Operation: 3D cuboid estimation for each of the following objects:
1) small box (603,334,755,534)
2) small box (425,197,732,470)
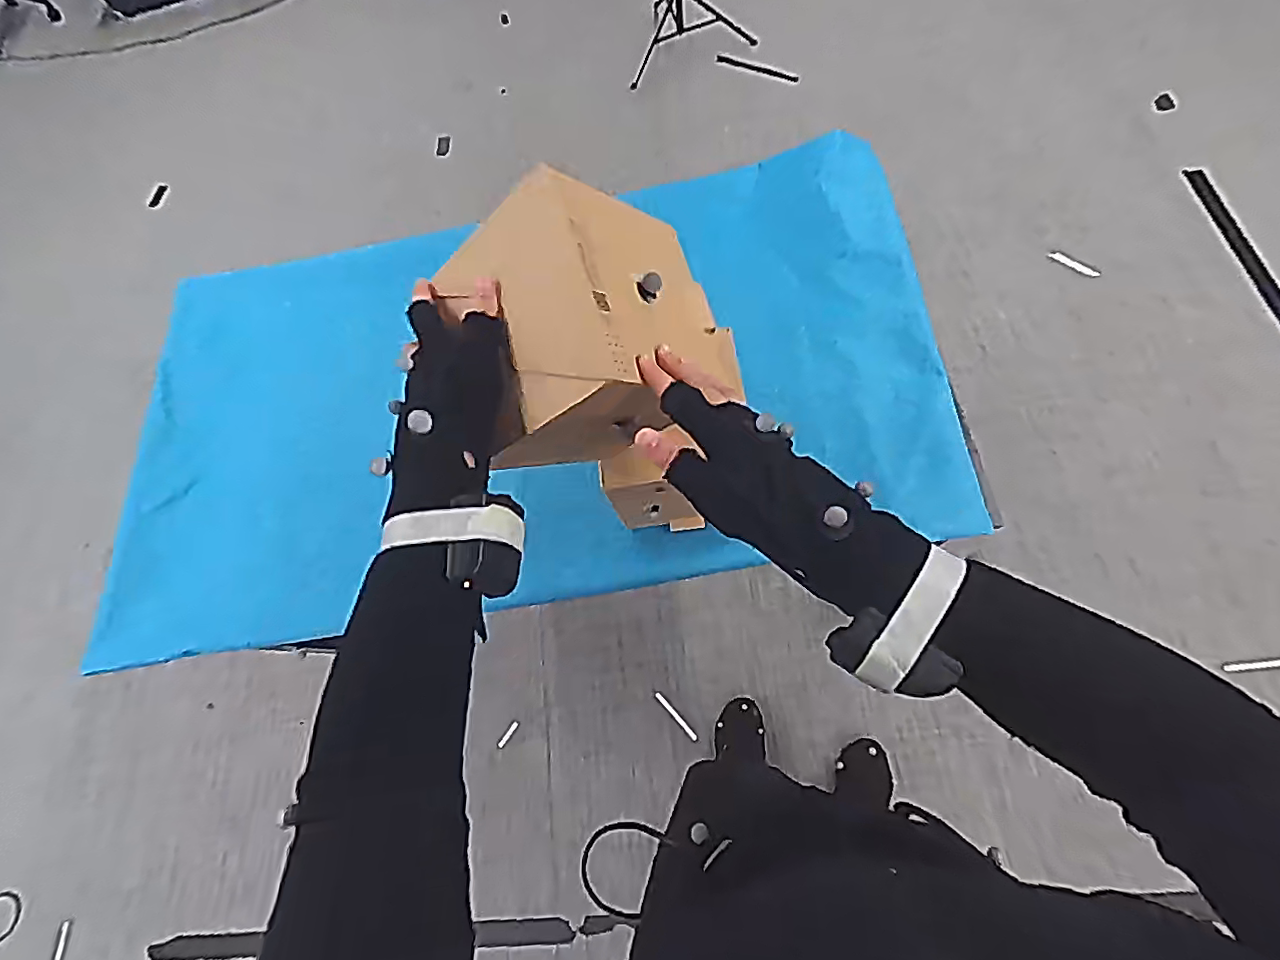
[{"bbox_3d":[0.044,-0.049,0.669,0.168,0.176,0.179,-9,68,4],"label":"small box"},{"bbox_3d":[-0.056,-0.115,0.472,0.179,0.176,0.168,-26,80,40],"label":"small box"}]
